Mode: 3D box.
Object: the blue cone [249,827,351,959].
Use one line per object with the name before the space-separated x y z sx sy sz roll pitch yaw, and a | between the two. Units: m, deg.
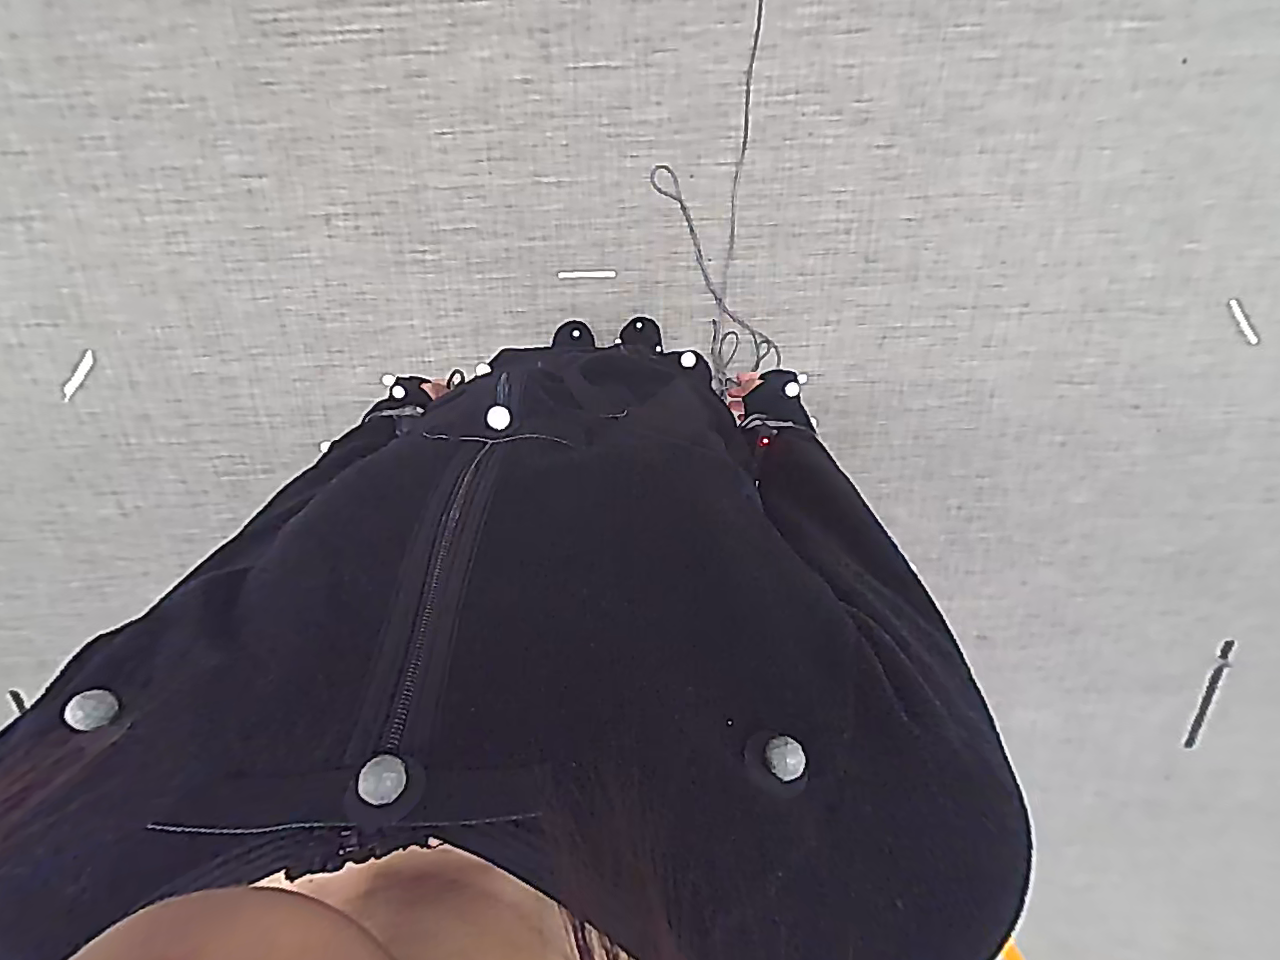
blue cone | -1.095 1.325 1.706 0.193 0.380 0.192 2 107 -1
